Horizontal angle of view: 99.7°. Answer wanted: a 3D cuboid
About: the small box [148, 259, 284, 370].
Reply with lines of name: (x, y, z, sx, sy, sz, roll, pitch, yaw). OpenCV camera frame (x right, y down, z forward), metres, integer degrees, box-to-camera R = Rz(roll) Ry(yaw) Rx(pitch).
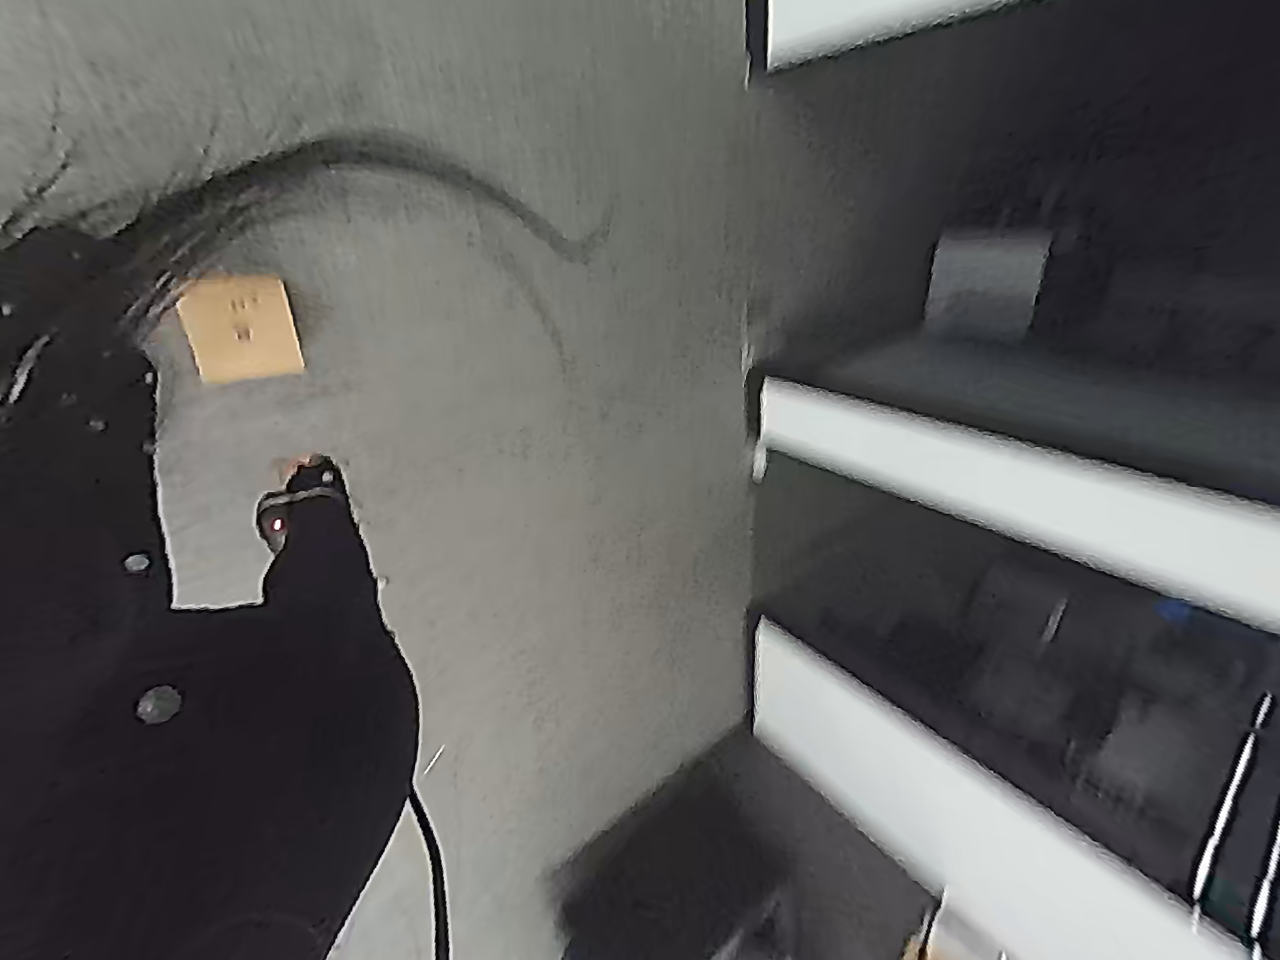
small box: (-0.799, -0.320, 1.028, 0.168, 0.176, 0.179, -17, 121, -35)
